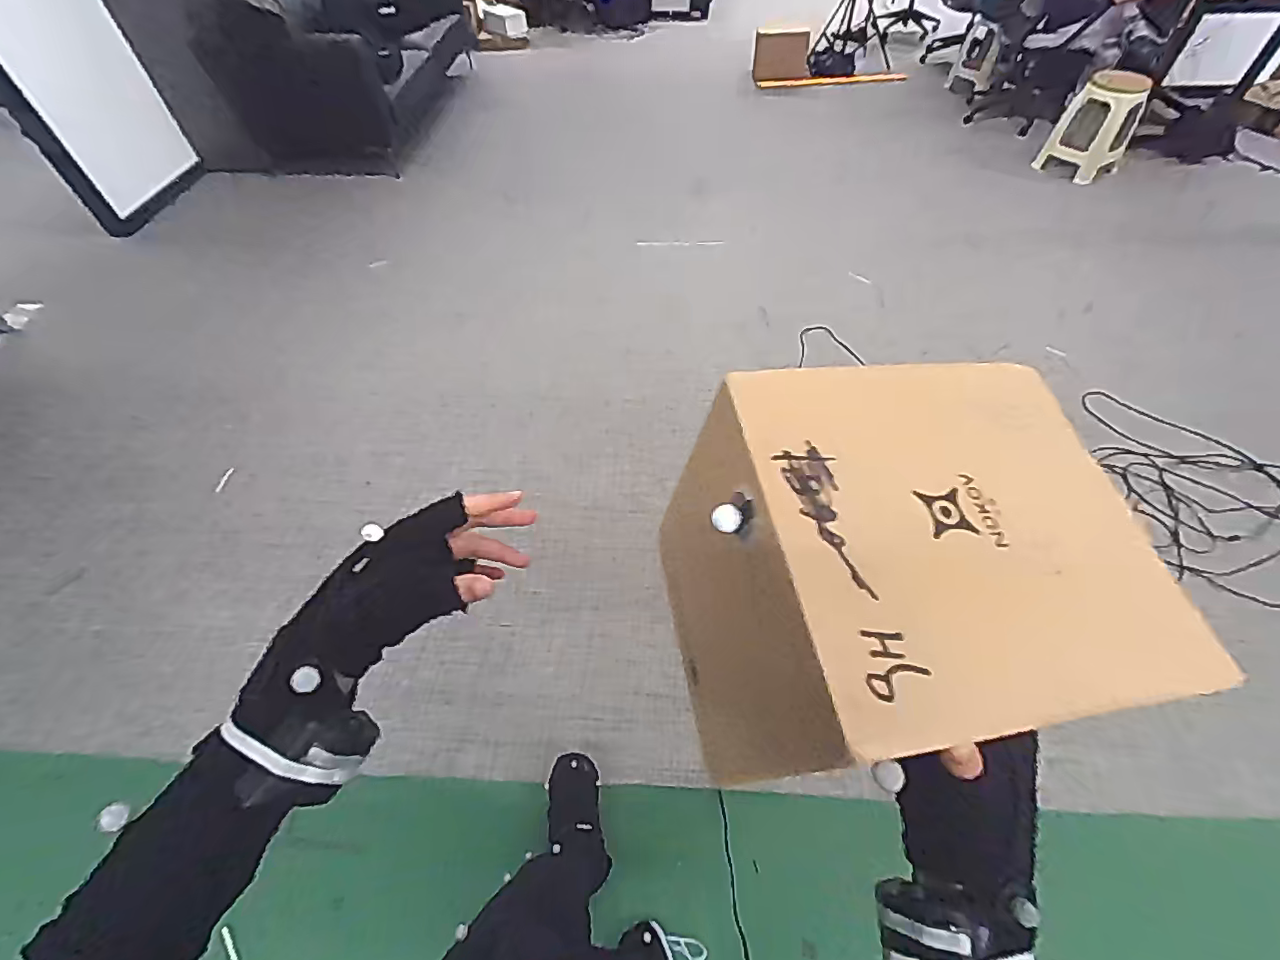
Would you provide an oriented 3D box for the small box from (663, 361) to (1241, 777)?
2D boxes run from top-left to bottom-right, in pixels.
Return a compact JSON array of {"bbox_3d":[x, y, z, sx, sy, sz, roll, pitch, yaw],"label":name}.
[{"bbox_3d":[0.125,0.056,0.296,0.179,0.176,0.168,-2,59,-13],"label":"small box"}]
